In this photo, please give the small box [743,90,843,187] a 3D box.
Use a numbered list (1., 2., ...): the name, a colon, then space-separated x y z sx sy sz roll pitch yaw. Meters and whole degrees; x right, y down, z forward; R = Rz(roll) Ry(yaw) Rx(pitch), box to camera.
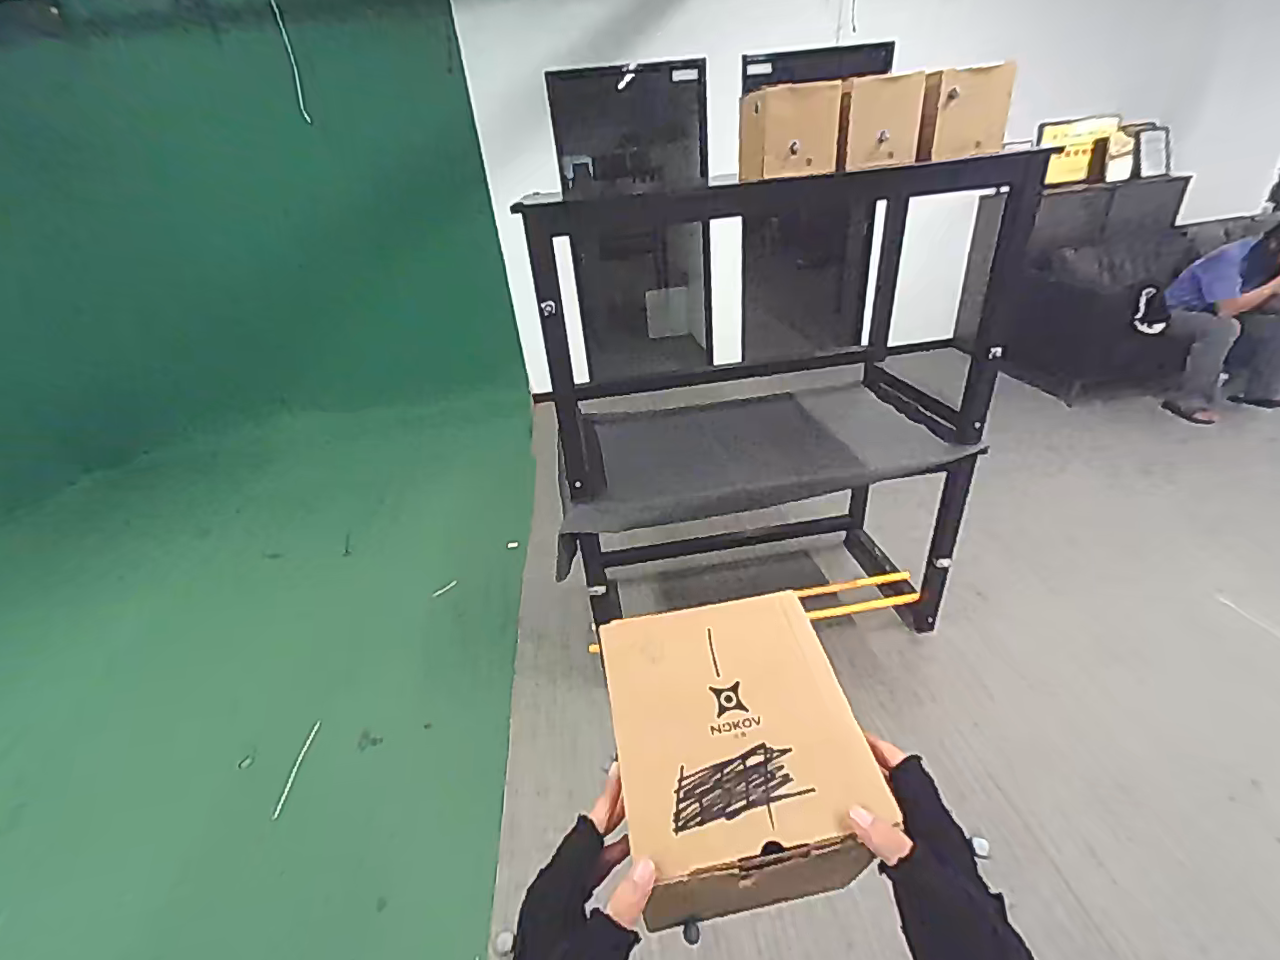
1. small box: 0.333 -0.760 1.216 0.168 0.176 0.179 -8 30 -5
